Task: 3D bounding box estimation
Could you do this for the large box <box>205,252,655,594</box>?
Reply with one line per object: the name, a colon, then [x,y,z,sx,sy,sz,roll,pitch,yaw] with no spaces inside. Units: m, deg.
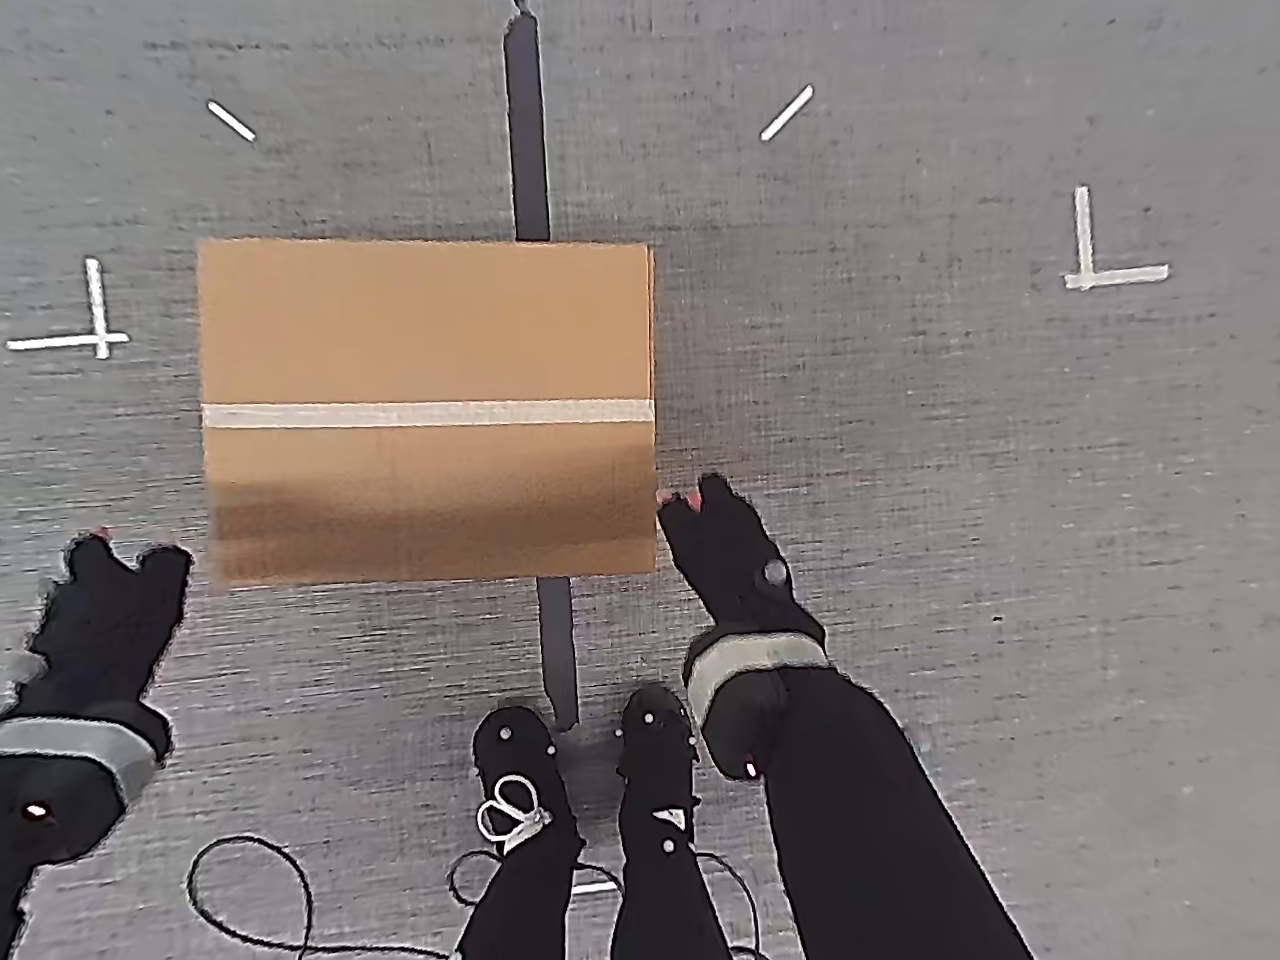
large box: [-0.197,-0.062,0.652,0.408,0.320,0.320,-1,92,-4]
